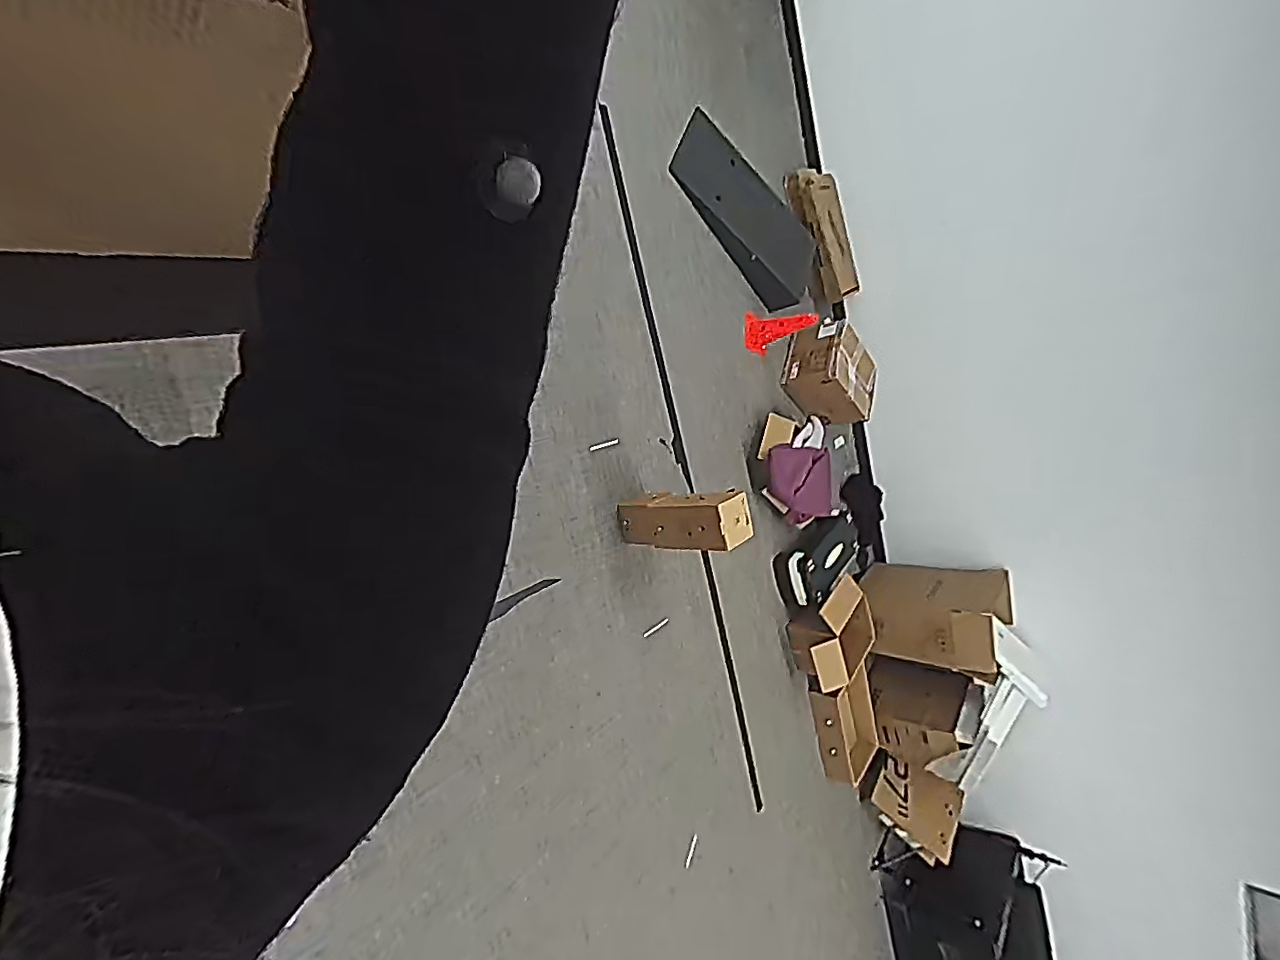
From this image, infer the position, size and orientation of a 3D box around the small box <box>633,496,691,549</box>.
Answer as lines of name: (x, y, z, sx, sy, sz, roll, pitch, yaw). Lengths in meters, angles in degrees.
small box: (0.098, 0.164, 2.131, 0.179, 0.176, 0.168, -22, 103, -44)

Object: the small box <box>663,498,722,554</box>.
small box: (0.213, 0.166, 2.013, 0.179, 0.176, 0.168, -22, 102, -45)

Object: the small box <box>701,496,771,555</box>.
small box: (0.331, 0.159, 1.899, 0.179, 0.176, 0.168, -21, 102, -45)
